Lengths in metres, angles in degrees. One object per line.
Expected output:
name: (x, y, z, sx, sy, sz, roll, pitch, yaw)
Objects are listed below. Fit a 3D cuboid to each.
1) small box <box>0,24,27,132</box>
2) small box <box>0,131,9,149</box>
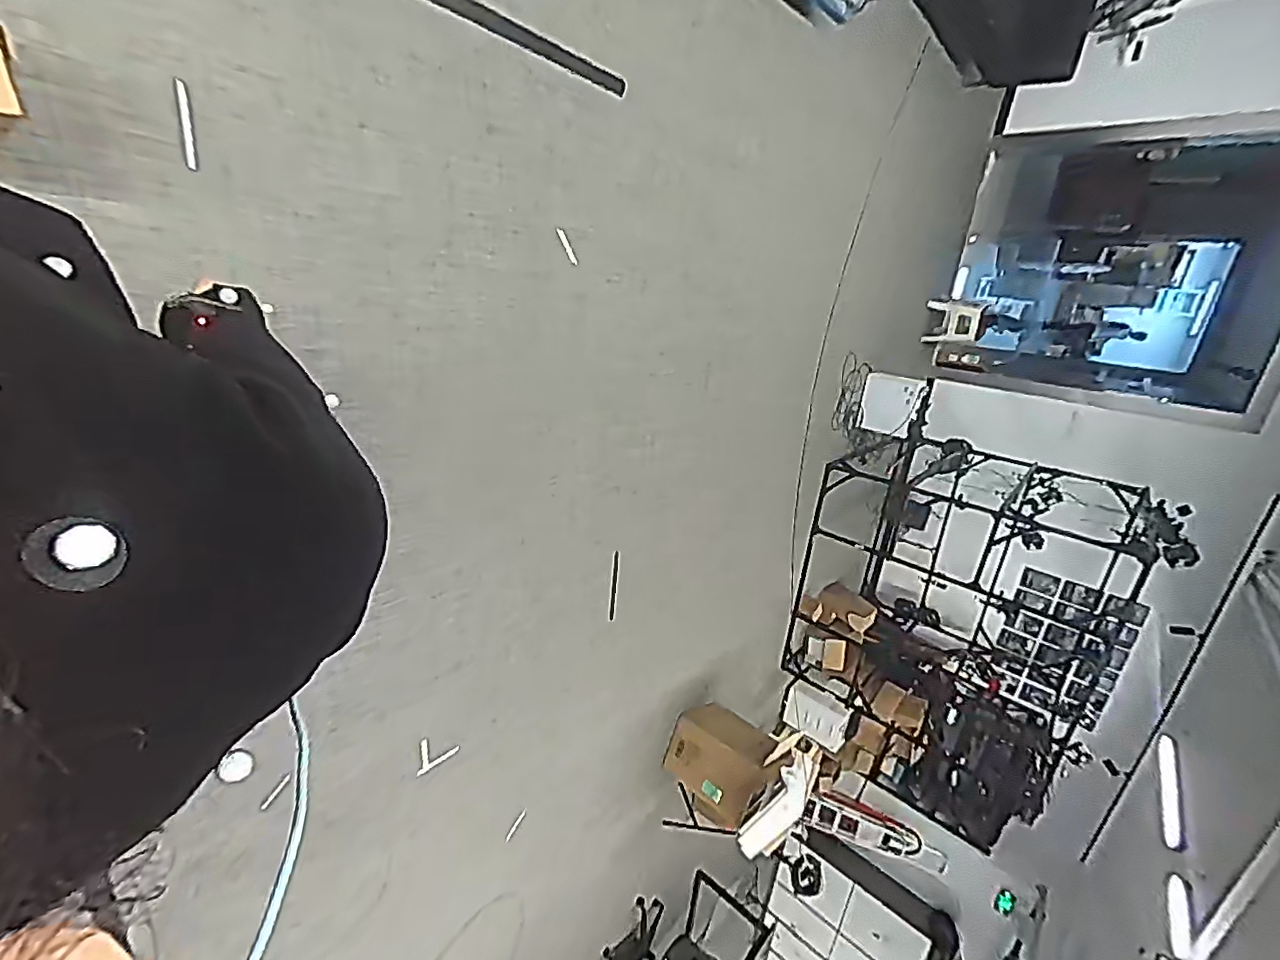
small box: (-0.930, -0.553, 0.677, 0.179, 0.176, 0.168, -19, 121, -47)
small box: (-1.051, -0.598, 0.779, 0.168, 0.176, 0.179, -13, 116, -49)
